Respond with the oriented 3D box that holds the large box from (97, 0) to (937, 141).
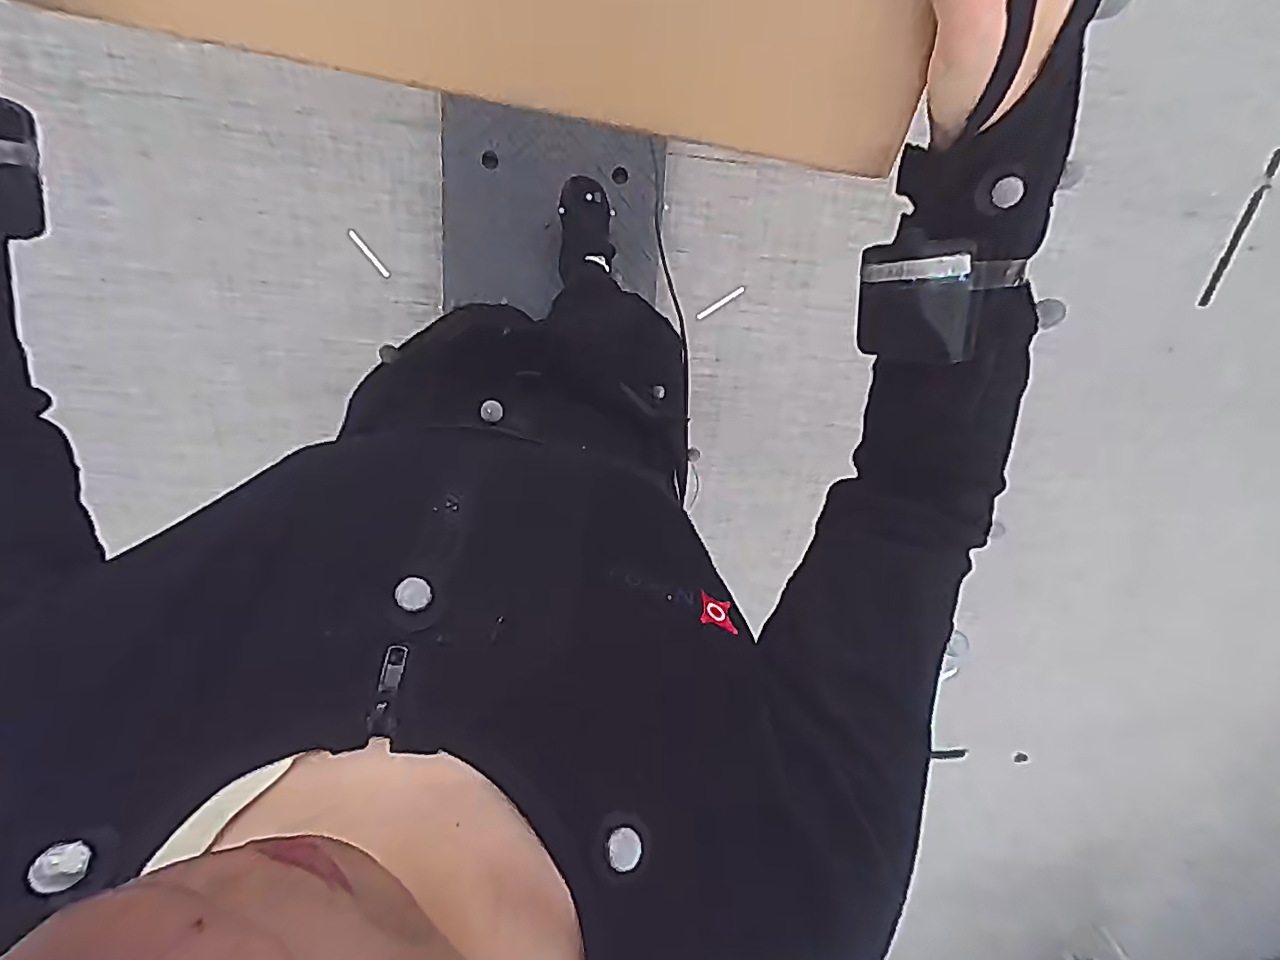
[{"bbox_3d":[-0.054,-0.403,0.274,0.408,0.320,0.320,5,129,-10],"label":"large box"}]
